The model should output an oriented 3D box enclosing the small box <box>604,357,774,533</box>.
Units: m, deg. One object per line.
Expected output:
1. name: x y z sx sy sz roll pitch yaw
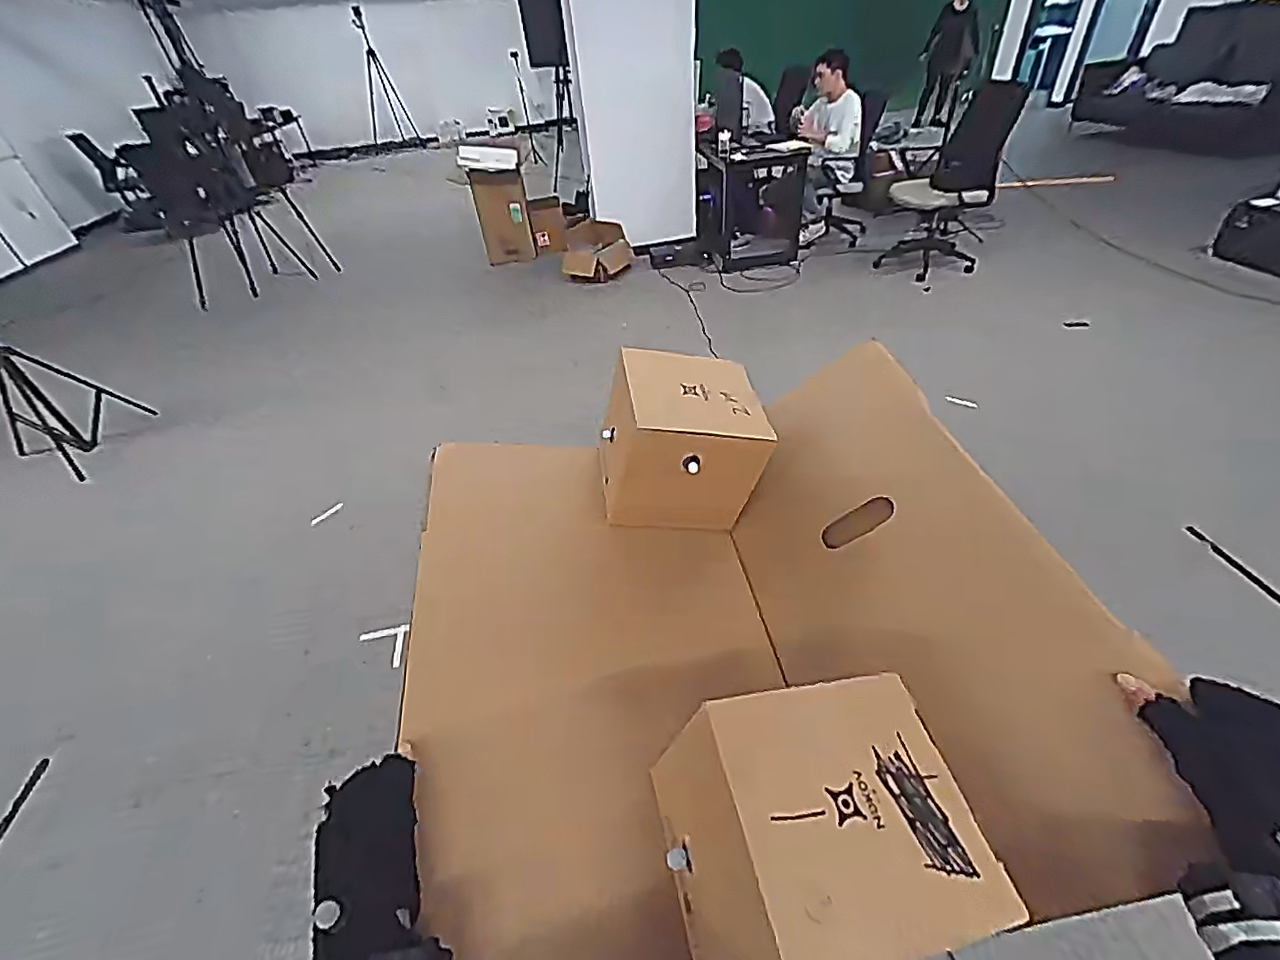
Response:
1. small box: 0.050 -0.043 0.731 0.179 0.176 0.168 4 44 -15
